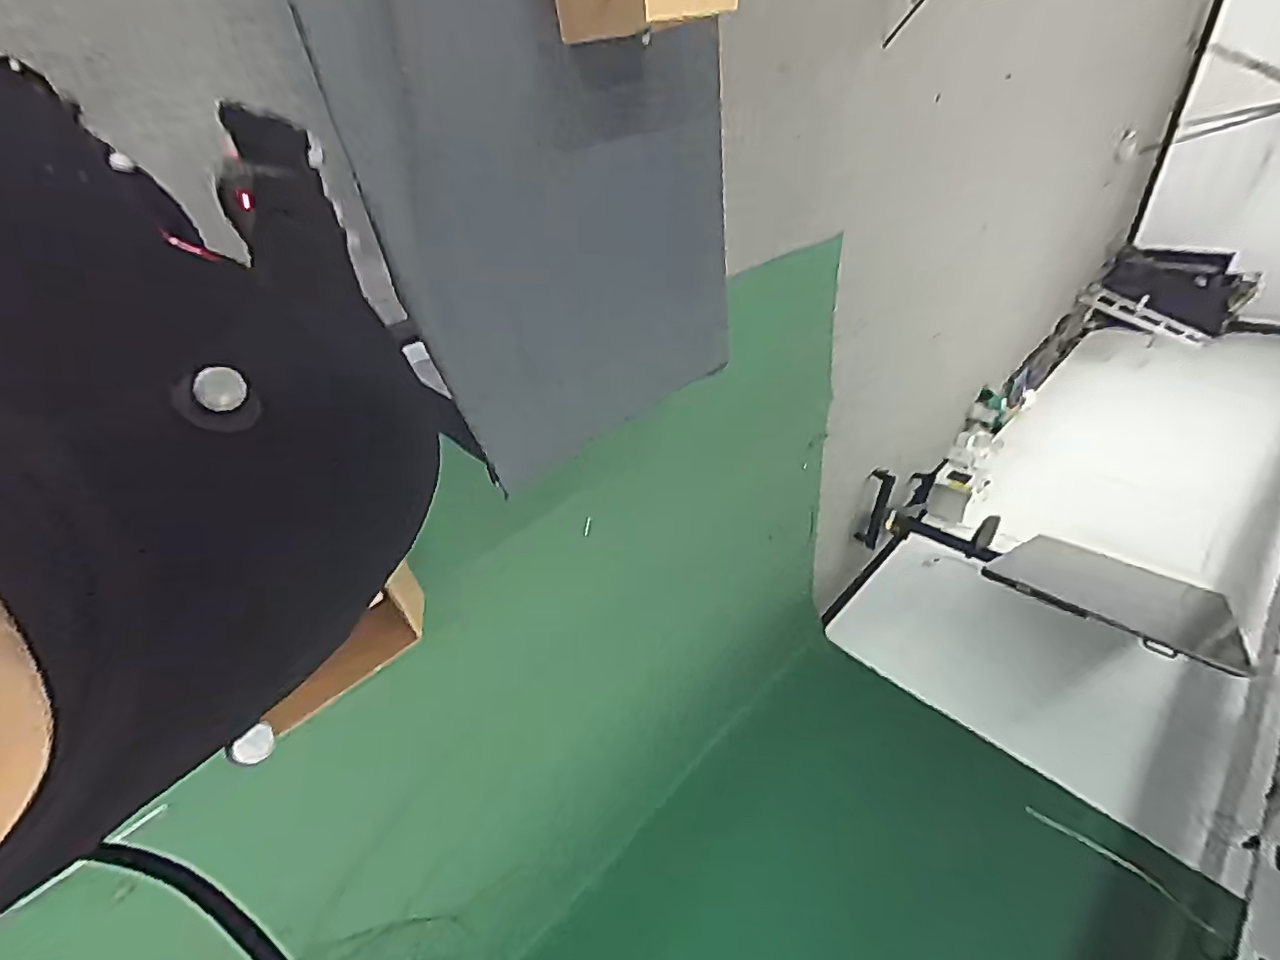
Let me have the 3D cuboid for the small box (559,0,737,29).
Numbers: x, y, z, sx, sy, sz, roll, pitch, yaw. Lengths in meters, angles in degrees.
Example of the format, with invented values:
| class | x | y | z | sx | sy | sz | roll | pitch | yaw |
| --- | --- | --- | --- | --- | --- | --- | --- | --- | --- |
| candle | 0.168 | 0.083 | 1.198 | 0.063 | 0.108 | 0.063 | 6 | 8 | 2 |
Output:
| class | x | y | z | sx | sy | sz | roll | pitch | yaw |
| --- | --- | --- | --- | --- | --- | --- | --- | --- | --- |
| small box | -0.001 | -0.661 | 0.644 | 0.168 | 0.176 | 0.179 | -35 | 134 | -28 |
